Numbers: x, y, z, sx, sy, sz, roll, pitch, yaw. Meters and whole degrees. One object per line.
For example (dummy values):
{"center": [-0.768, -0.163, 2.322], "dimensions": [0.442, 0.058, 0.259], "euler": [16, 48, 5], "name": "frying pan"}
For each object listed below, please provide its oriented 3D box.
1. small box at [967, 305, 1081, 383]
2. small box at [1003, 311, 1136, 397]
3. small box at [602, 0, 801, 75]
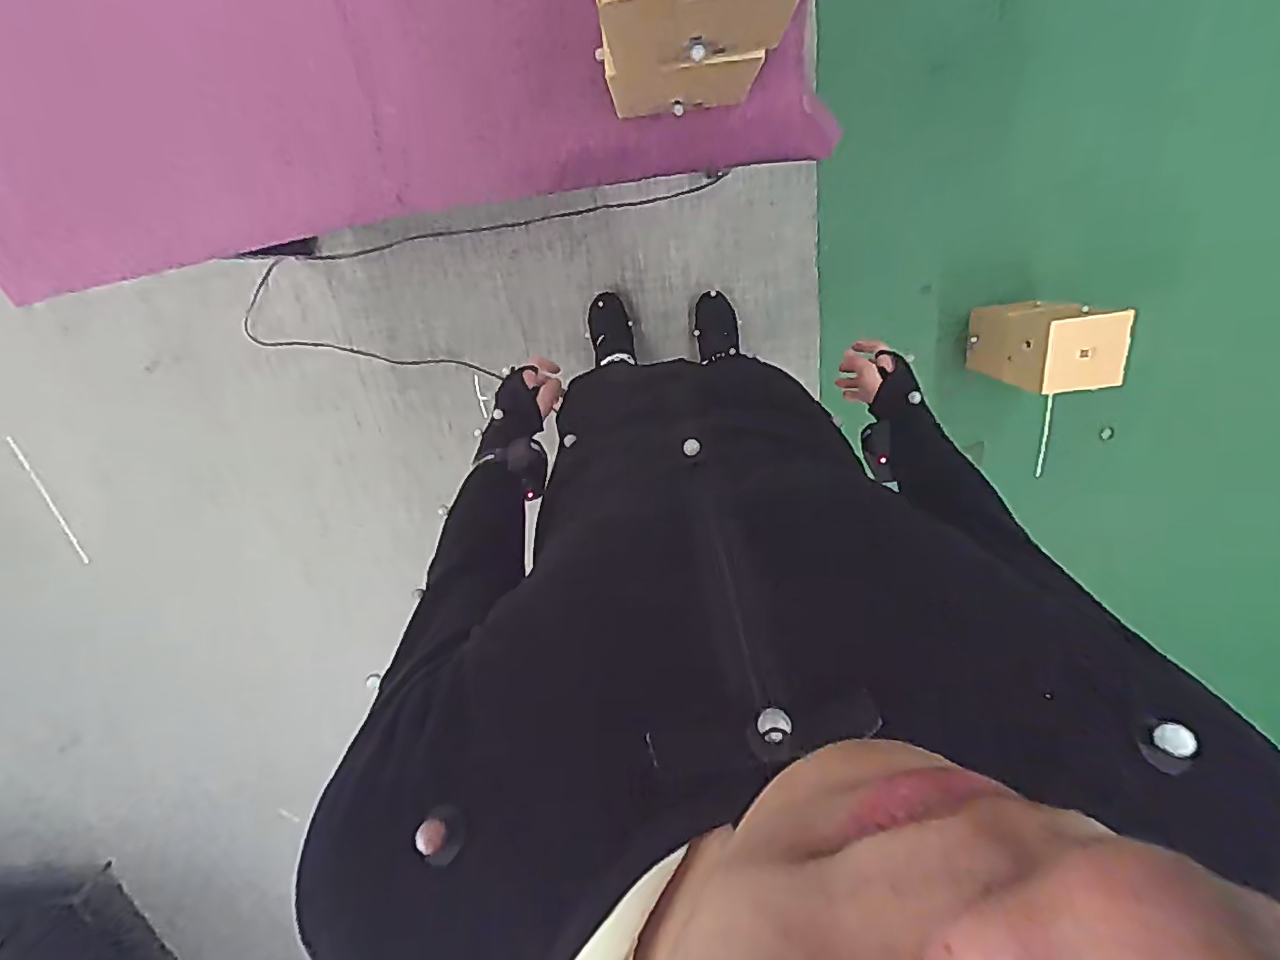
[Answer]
{"center": [0.996, -0.361, 1.415], "dimensions": [0.179, 0.176, 0.168], "euler": [-7, 111, 6], "name": "small box"}
{"center": [0.991, -0.299, 1.267], "dimensions": [0.179, 0.176, 0.168], "euler": [-7, 110, 4], "name": "small box"}
{"center": [0.044, -0.474, 0.445], "dimensions": [0.168, 0.176, 0.179], "euler": [-5, 111, 6], "name": "small box"}
